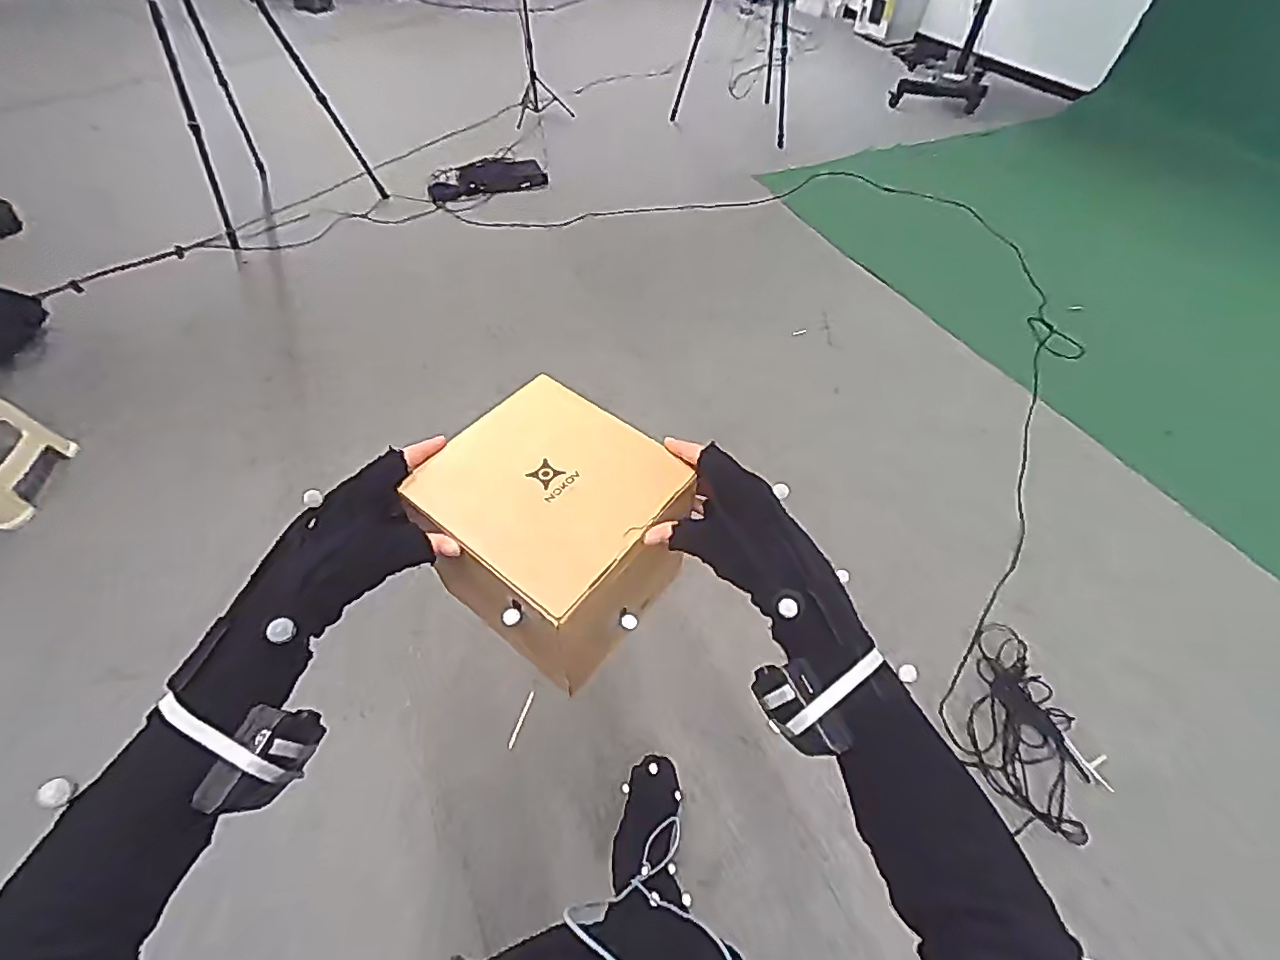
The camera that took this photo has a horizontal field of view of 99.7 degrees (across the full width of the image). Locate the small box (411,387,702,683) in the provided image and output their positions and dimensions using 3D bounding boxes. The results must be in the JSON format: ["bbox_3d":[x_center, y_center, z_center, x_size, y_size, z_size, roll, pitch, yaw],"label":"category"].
[{"bbox_3d":[-0.069,0.053,0.495,0.179,0.176,0.168,33,57,20],"label":"small box"}]
